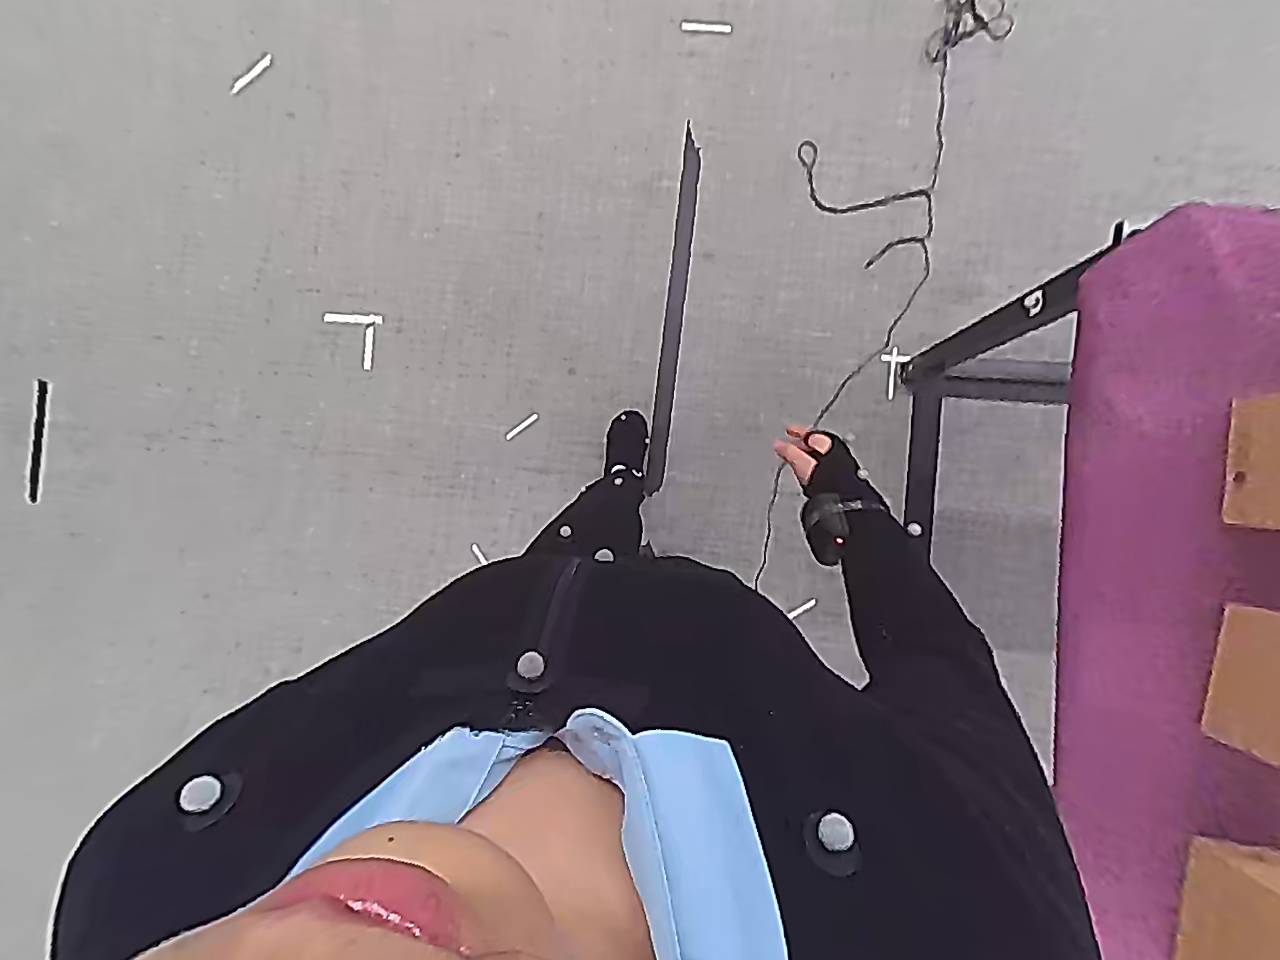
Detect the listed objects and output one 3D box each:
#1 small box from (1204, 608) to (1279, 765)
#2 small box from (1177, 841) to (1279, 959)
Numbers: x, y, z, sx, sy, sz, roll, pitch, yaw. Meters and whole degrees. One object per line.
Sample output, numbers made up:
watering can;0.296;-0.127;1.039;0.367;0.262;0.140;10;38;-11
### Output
small box;0.820;0.261;0.621;0.168;0.176;0.179;13;90;4
small box;0.778;0.557;0.617;0.168;0.176;0.179;9;89;2
